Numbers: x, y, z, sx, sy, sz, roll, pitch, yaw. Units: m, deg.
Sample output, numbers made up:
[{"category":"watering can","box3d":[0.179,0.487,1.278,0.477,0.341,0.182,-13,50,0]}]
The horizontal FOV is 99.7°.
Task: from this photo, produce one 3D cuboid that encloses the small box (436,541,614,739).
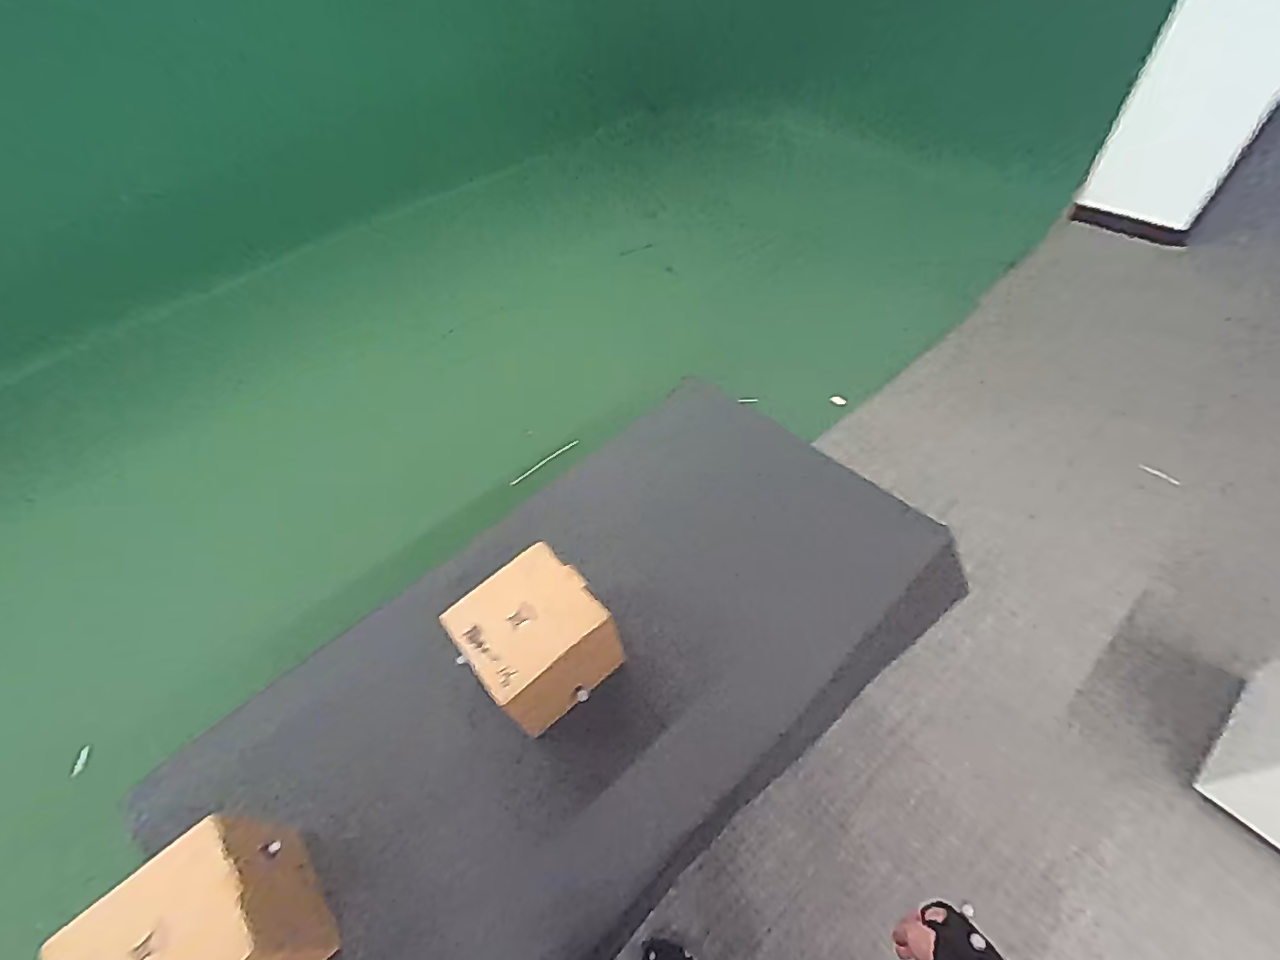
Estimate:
[{"category":"small box","box3d":[-0.150,0.226,0.764,0.179,0.176,0.168,-36,57,-23]}]
